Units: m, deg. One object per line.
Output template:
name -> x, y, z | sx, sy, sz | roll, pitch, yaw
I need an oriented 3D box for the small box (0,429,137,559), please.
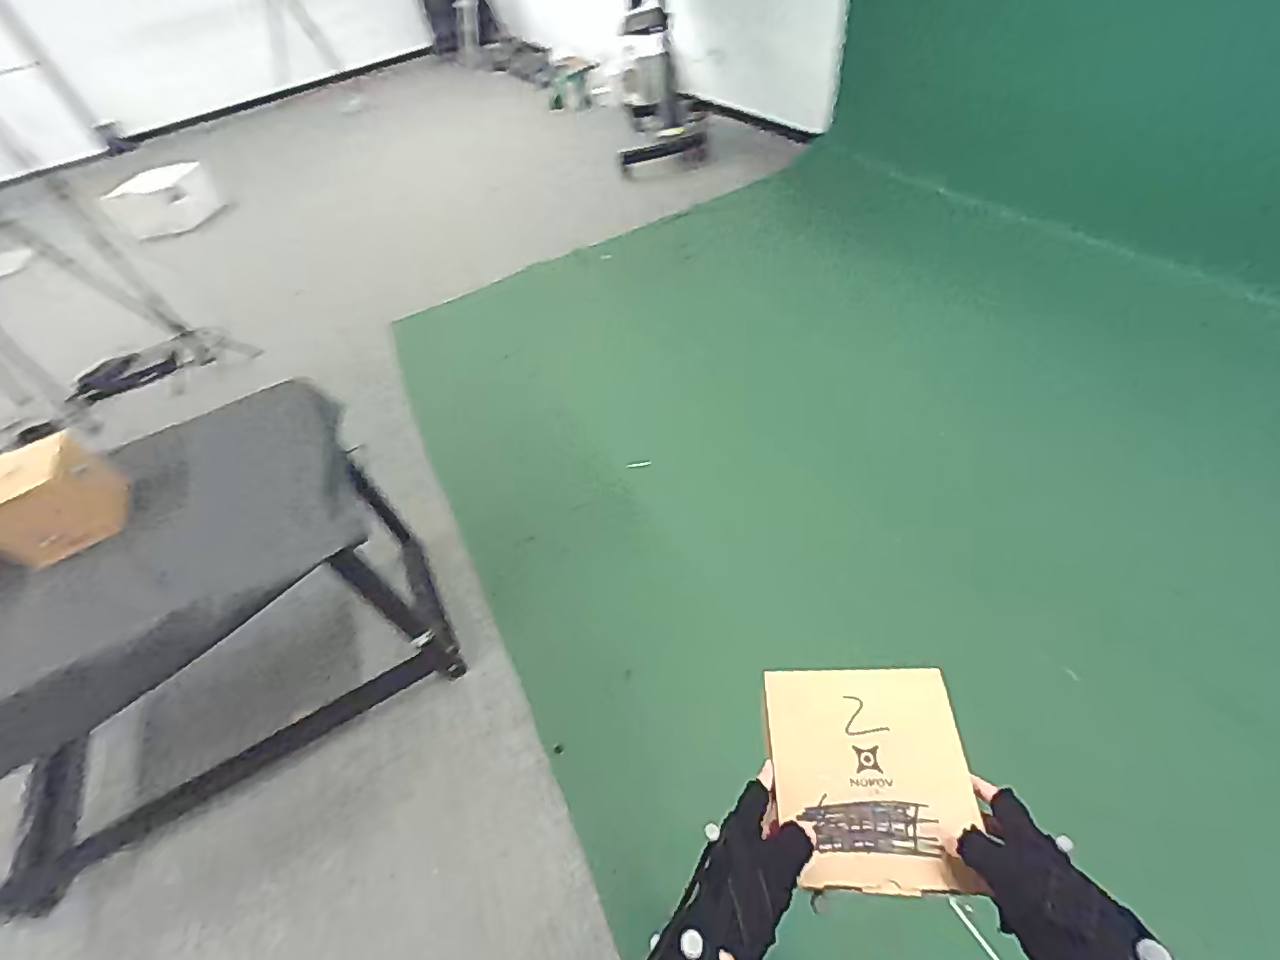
small box -> -1.211, 0.031, 1.132 | 0.168, 0.176, 0.179 | -27, 51, -13
